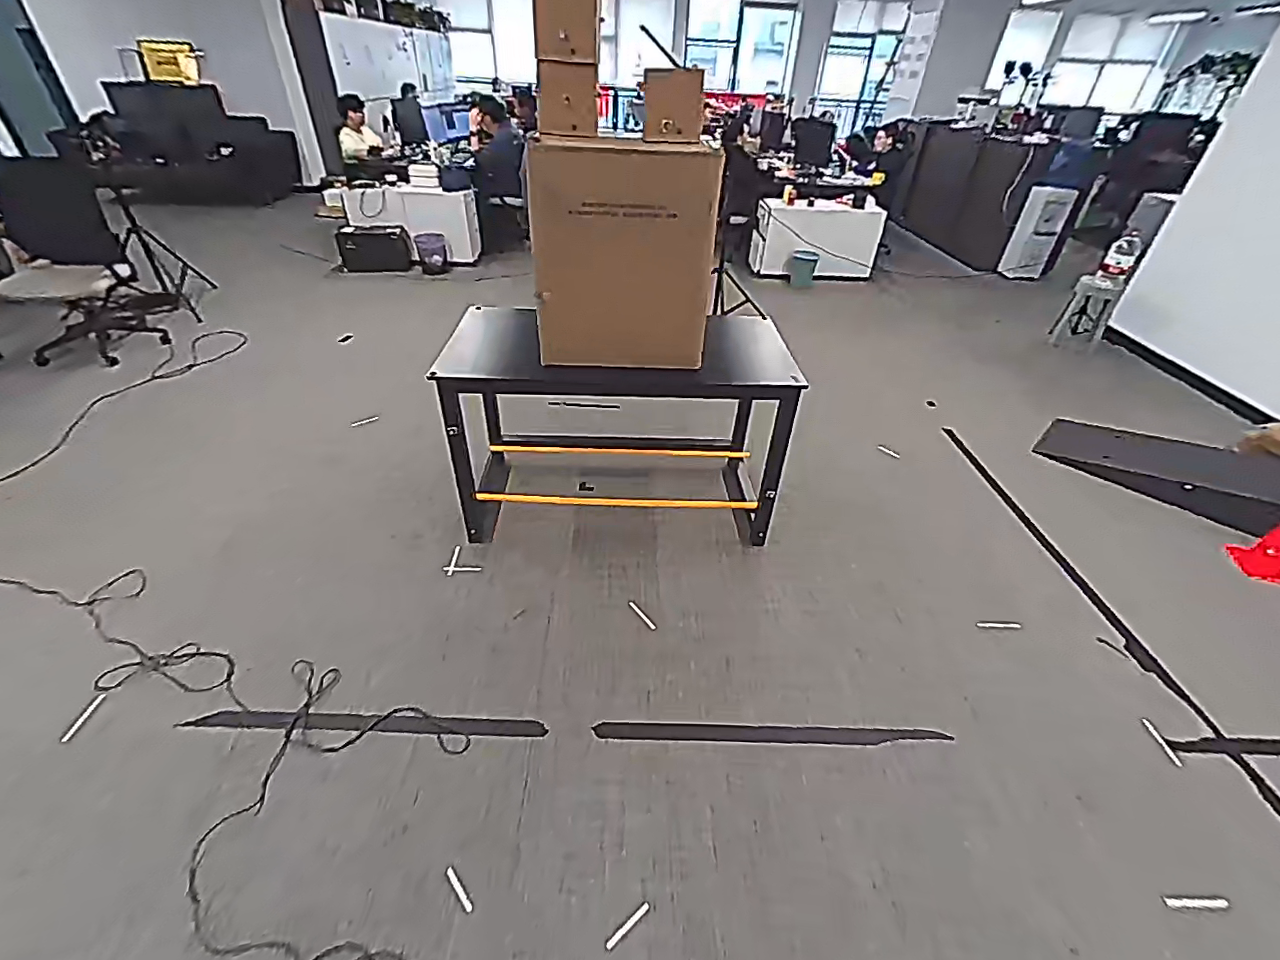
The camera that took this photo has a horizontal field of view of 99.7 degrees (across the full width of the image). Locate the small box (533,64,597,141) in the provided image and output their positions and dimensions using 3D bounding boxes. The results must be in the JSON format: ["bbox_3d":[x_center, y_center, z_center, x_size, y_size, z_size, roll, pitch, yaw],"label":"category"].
[{"bbox_3d":[-0.208,-1.077,1.545,0.168,0.176,0.179,2,37,-3],"label":"small box"}]

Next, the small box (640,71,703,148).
[{"bbox_3d":[0.085,-1.044,1.521,0.168,0.176,0.179,0,38,1],"label":"small box"}]

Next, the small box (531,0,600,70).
[{"bbox_3d":[-0.195,-1.199,1.432,0.168,0.176,0.179,3,37,-2],"label":"small box"}]
